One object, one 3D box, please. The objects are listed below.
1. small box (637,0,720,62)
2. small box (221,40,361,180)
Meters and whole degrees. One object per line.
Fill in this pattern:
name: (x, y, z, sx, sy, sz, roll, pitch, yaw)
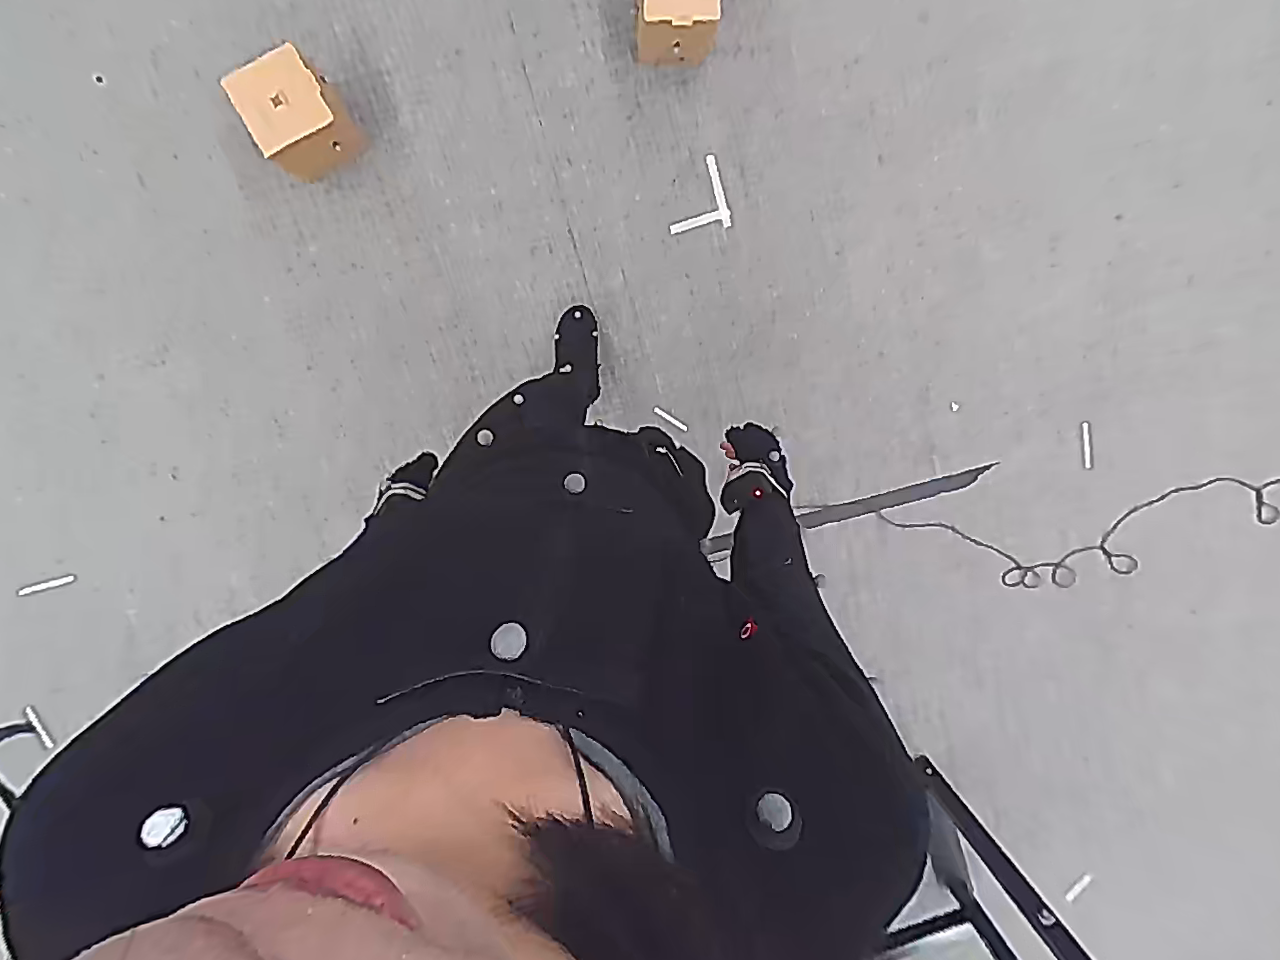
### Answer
small box: (0.083, -1.065, 1.199, 0.168, 0.176, 0.179, -2, 103, -4)
small box: (-0.753, -0.806, 1.198, 0.179, 0.176, 0.168, -27, 101, 3)
